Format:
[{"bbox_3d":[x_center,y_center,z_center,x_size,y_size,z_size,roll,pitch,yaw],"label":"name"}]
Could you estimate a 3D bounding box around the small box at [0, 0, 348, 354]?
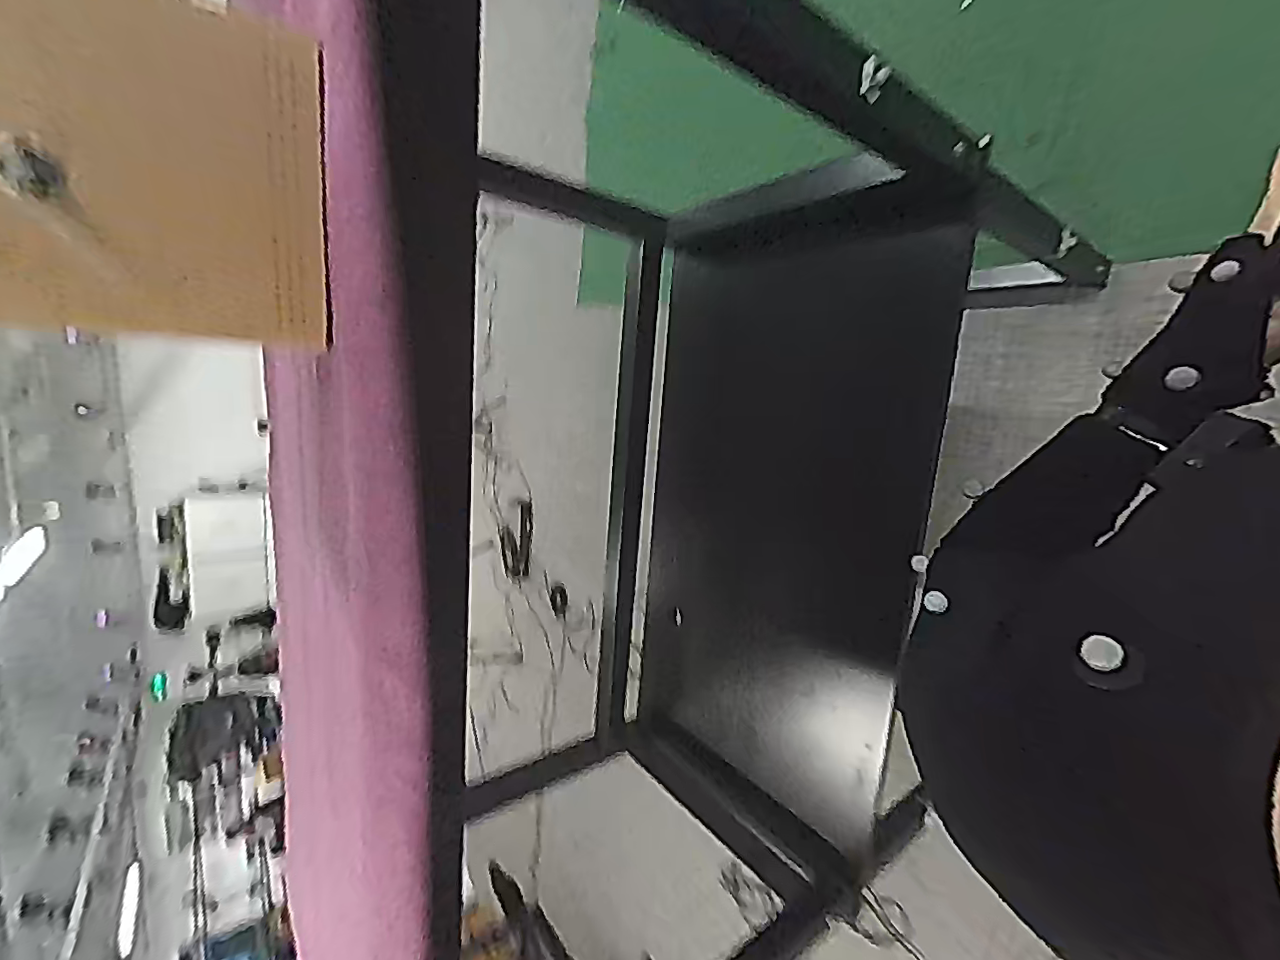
[{"bbox_3d":[-0.294,-0.180,0.349,0.168,0.176,0.179,25,113,50],"label":"small box"}]
